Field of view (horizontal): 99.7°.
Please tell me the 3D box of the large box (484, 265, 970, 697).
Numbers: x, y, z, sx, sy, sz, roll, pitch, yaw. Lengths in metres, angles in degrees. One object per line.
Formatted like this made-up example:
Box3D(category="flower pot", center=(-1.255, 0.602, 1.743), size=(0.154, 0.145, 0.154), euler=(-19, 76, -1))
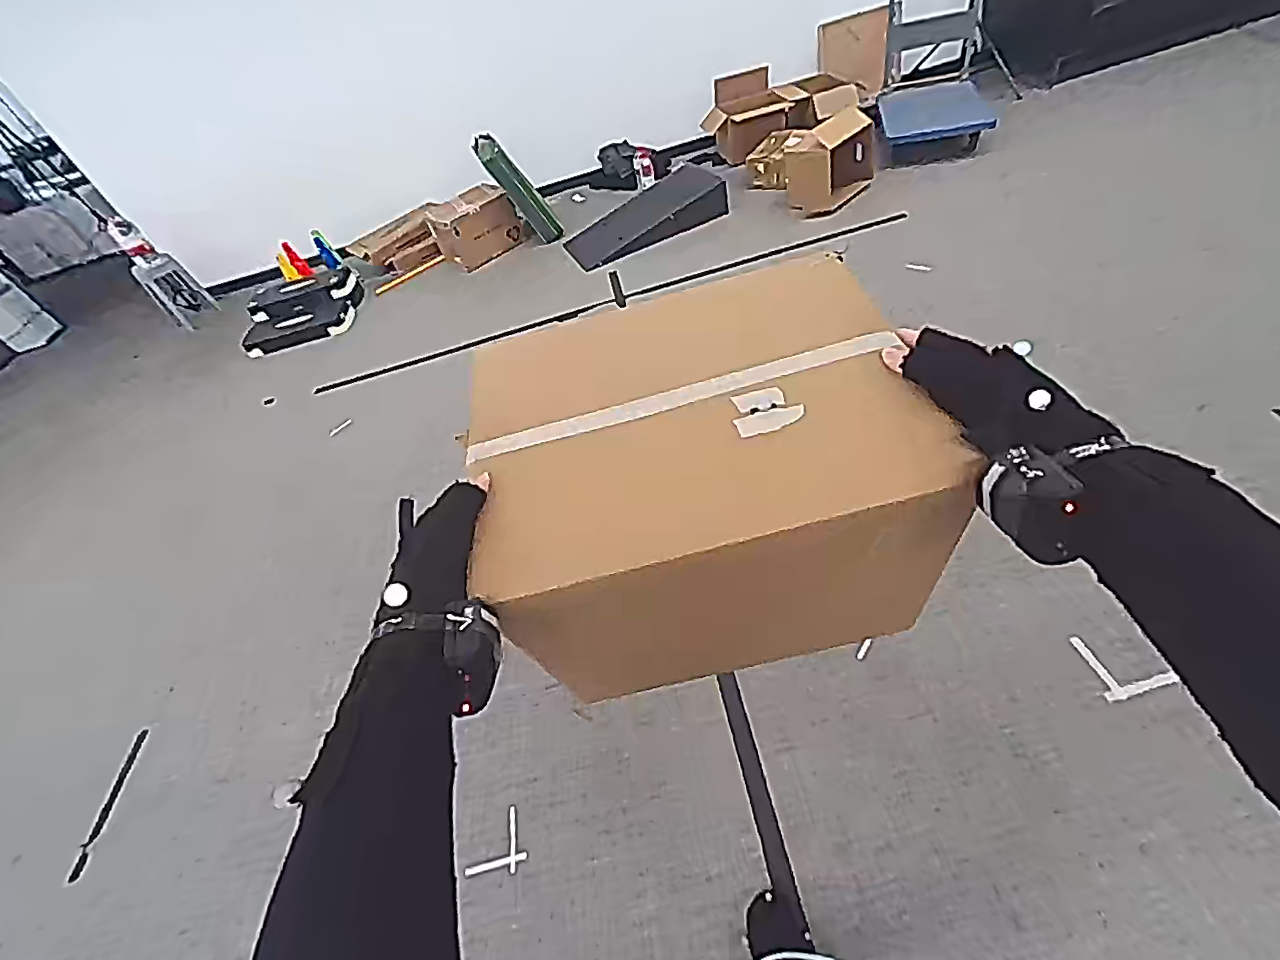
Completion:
Box3D(category="large box", center=(0.067, 0.016, 0.632), size=(0.408, 0.320, 0.320), euler=(-15, 53, 3))
